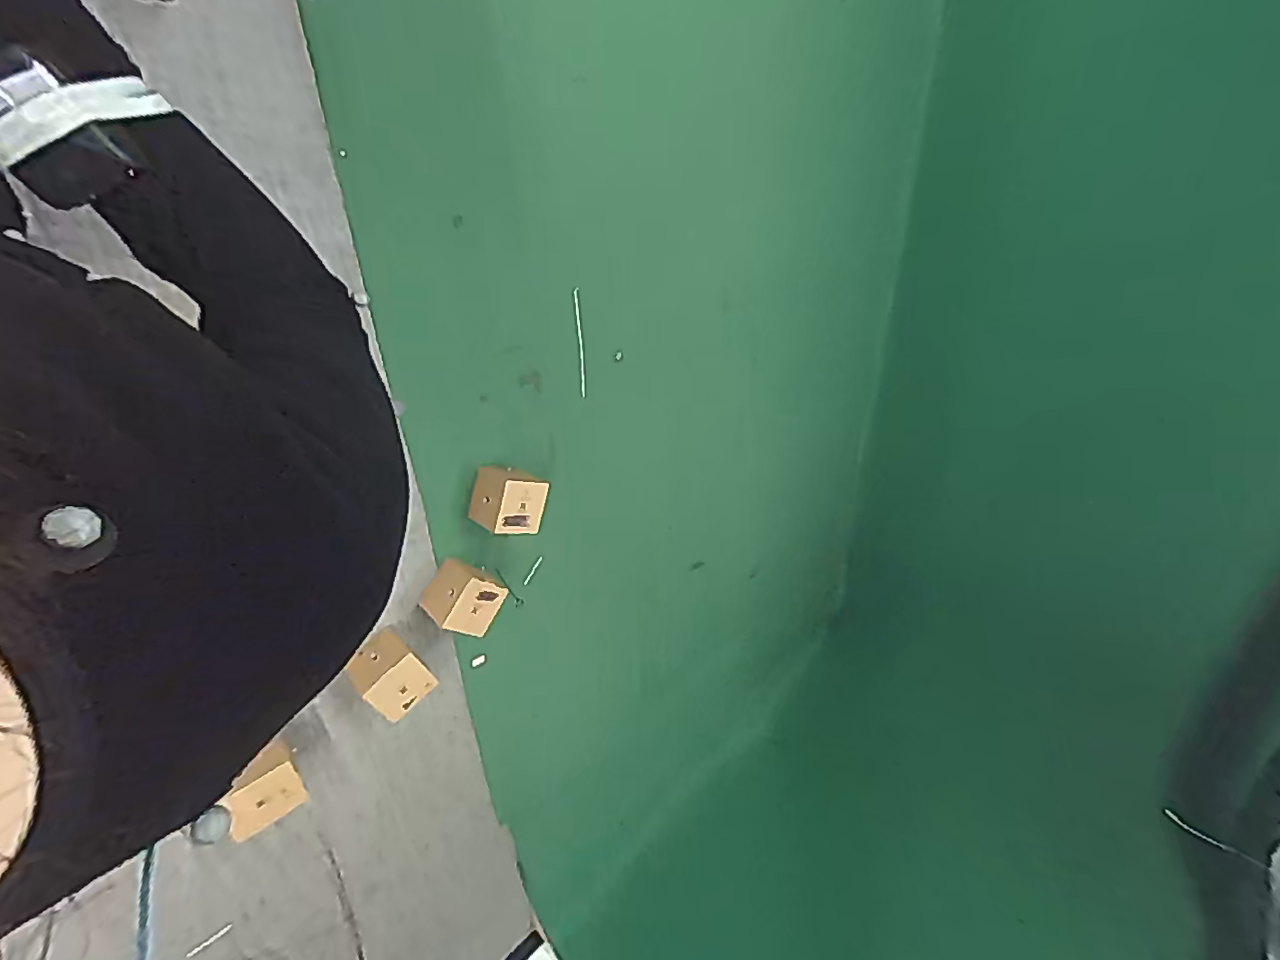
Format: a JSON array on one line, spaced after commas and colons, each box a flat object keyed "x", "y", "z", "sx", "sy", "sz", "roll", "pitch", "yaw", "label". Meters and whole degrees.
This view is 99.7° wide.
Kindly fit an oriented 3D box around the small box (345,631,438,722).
[{"x": -0.759, "y": 0.587, "z": 1.644, "sx": 0.168, "sy": 0.176, "sz": 0.179, "roll": -41, "pitch": 133, "yaw": -26, "label": "small box"}]

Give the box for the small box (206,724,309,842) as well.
[{"x": -1.032, "y": 0.807, "z": 1.455, "sx": 0.179, "sy": 0.176, "sz": 0.168, "roll": -27, "pitch": 126, "yaw": -36, "label": "small box"}]

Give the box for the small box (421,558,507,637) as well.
[{"x": -0.572, "y": 0.376, "z": 1.744, "sx": 0.168, "sy": 0.176, "sz": 0.179, "roll": 37, "pitch": 81, "yaw": -49, "label": "small box"}]
